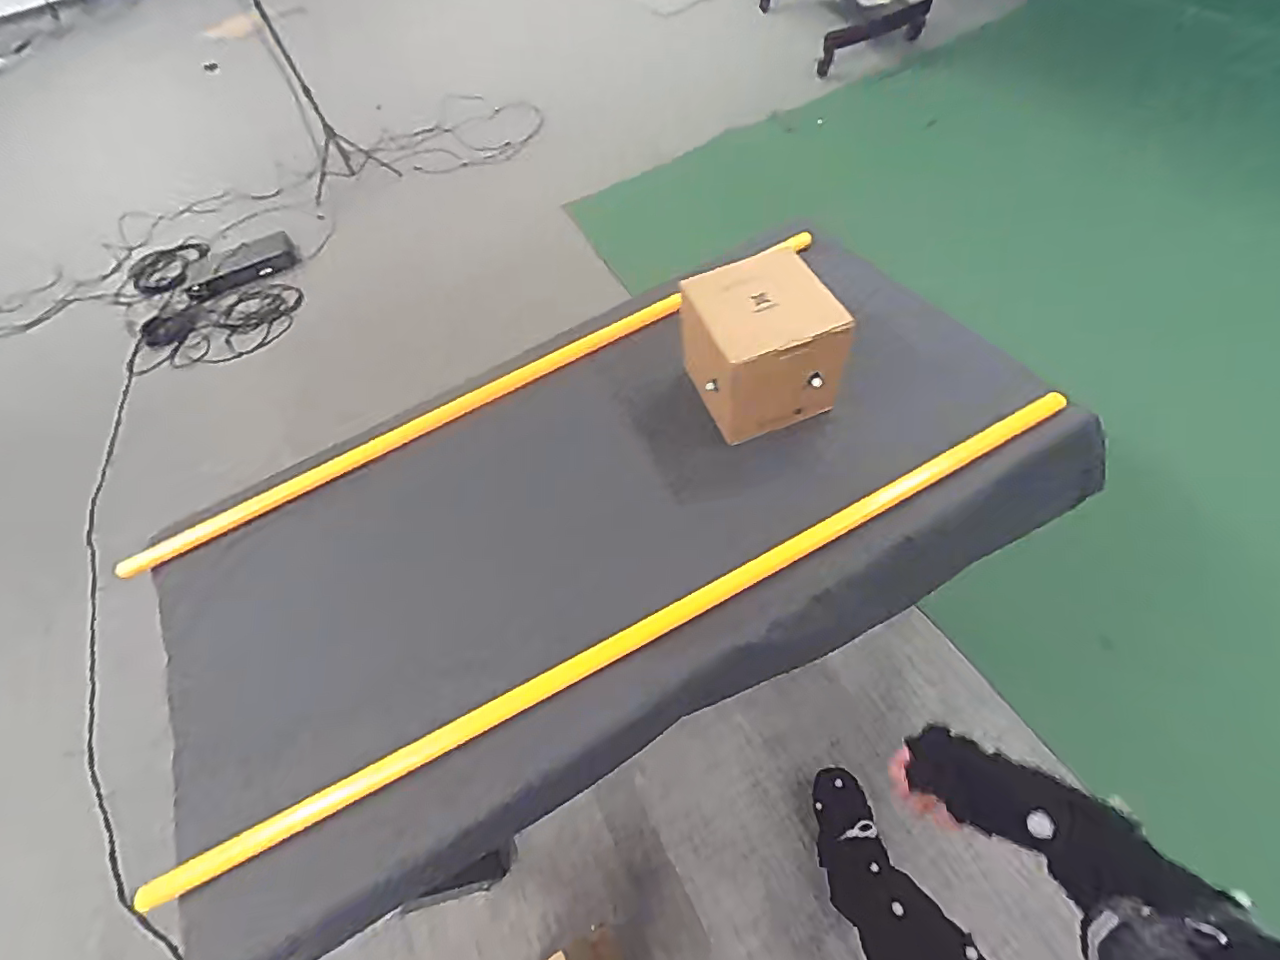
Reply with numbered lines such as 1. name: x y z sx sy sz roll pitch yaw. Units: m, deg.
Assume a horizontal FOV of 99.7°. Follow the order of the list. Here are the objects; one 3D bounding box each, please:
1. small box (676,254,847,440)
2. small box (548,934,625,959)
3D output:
1. small box: 0.163 -0.178 0.764 0.168 0.176 0.179 -20 55 -5
2. small box: -0.103 0.944 0.957 0.168 0.176 0.179 -22 58 -5
